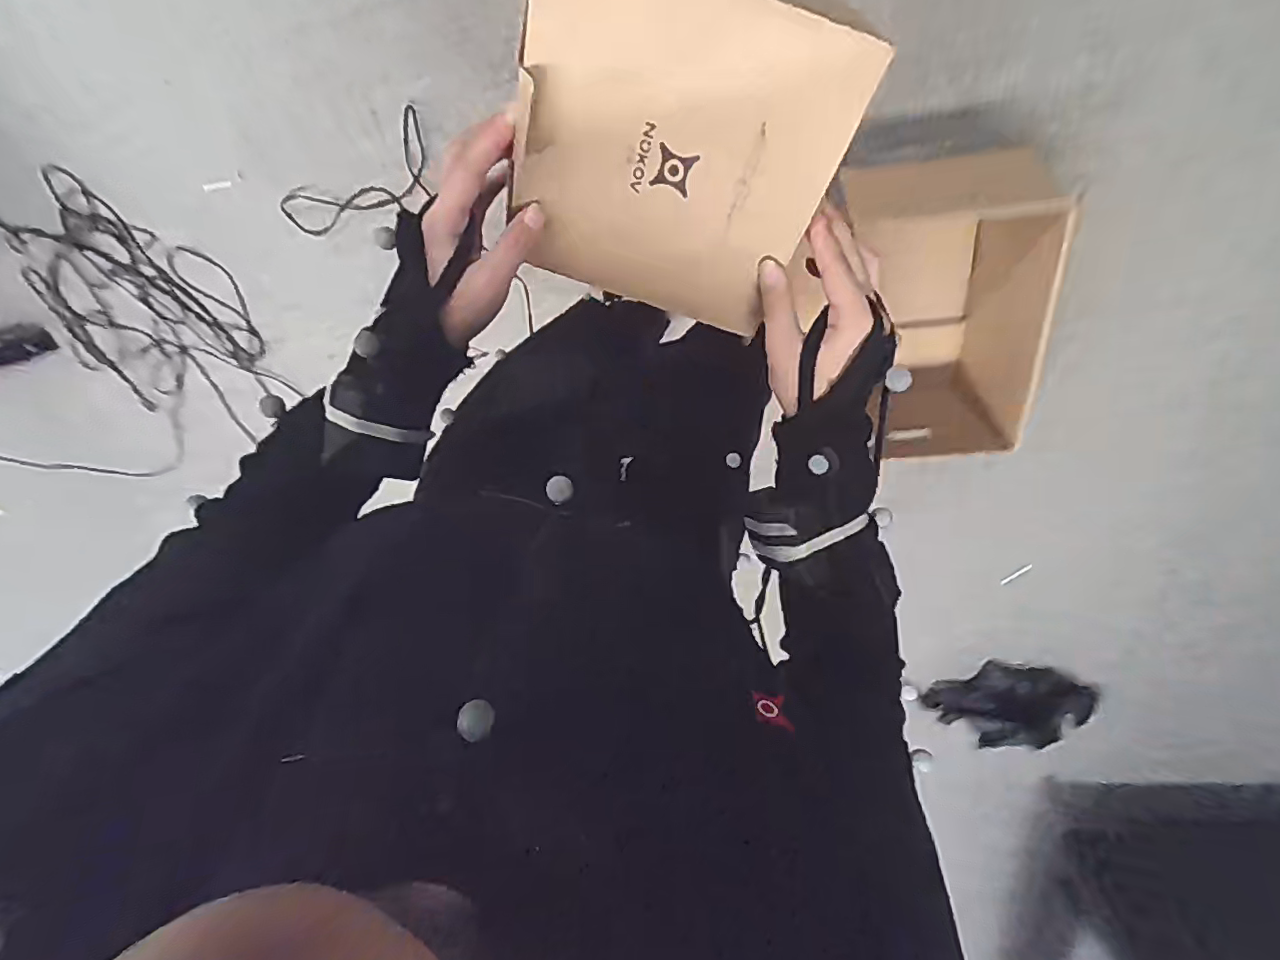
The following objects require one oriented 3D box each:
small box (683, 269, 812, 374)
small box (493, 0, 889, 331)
[{"bbox_3d":[0.207,-0.334,1.077,0.176,0.168,0.179,33,130,31],"label":"small box"},{"bbox_3d":[0.020,-0.230,0.347,0.179,0.176,0.168,14,138,-7],"label":"small box"}]
